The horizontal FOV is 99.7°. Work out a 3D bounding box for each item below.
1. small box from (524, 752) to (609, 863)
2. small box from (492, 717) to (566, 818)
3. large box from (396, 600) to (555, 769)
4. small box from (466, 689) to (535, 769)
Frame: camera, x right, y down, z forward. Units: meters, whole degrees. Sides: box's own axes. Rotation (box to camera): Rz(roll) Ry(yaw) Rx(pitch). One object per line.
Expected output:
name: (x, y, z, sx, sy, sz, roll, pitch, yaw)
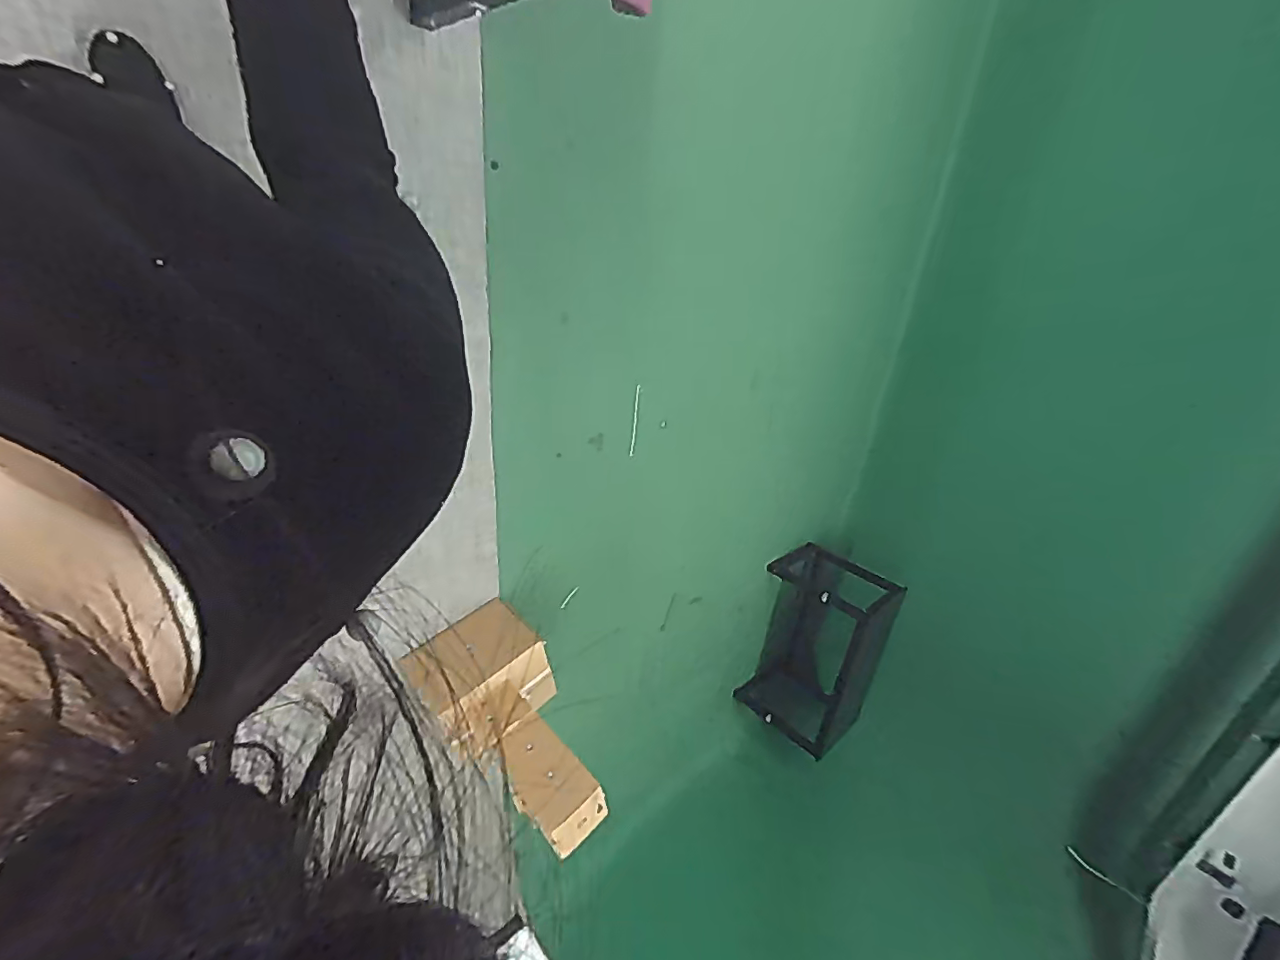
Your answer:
small box: (-0.216, 0.933, 1.552, 0.179, 0.176, 0.168, -31, 131, -31)
small box: (-0.332, 0.873, 1.653, 0.179, 0.176, 0.168, -33, 132, -32)
large box: (-0.579, 0.716, 1.940, 0.408, 0.320, 0.320, -33, 134, -33)
small box: (-0.442, 0.811, 1.757, 0.168, 0.176, 0.179, -31, 131, -32)
